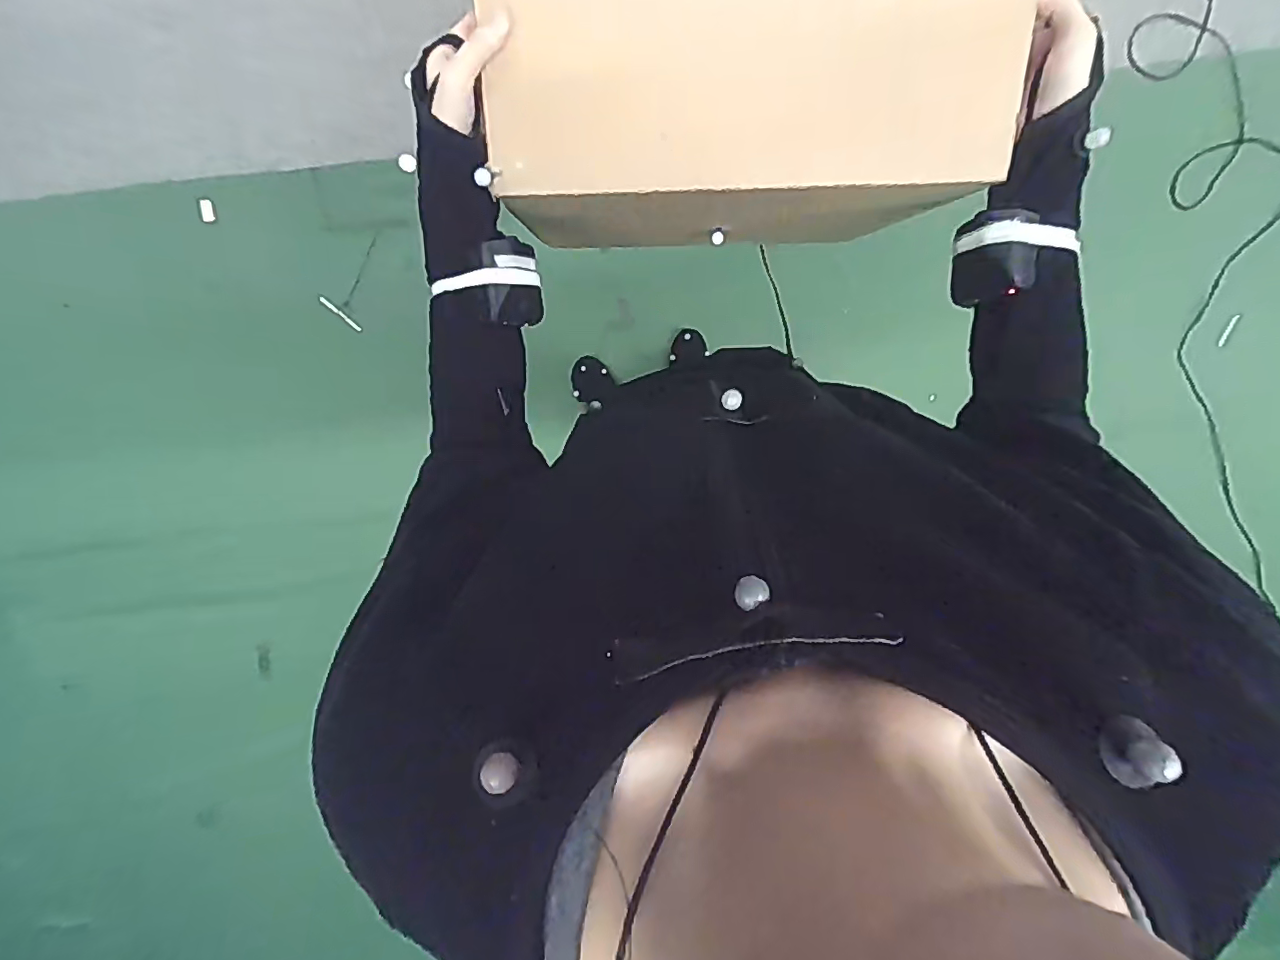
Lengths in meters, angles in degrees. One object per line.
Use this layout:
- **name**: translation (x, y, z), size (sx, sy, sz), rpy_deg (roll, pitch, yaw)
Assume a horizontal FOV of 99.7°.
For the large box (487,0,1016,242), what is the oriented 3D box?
- **large box**: translation (0.083, -0.428, 0.537), size (0.408, 0.320, 0.320), rpy_deg (-2, 105, 0)
